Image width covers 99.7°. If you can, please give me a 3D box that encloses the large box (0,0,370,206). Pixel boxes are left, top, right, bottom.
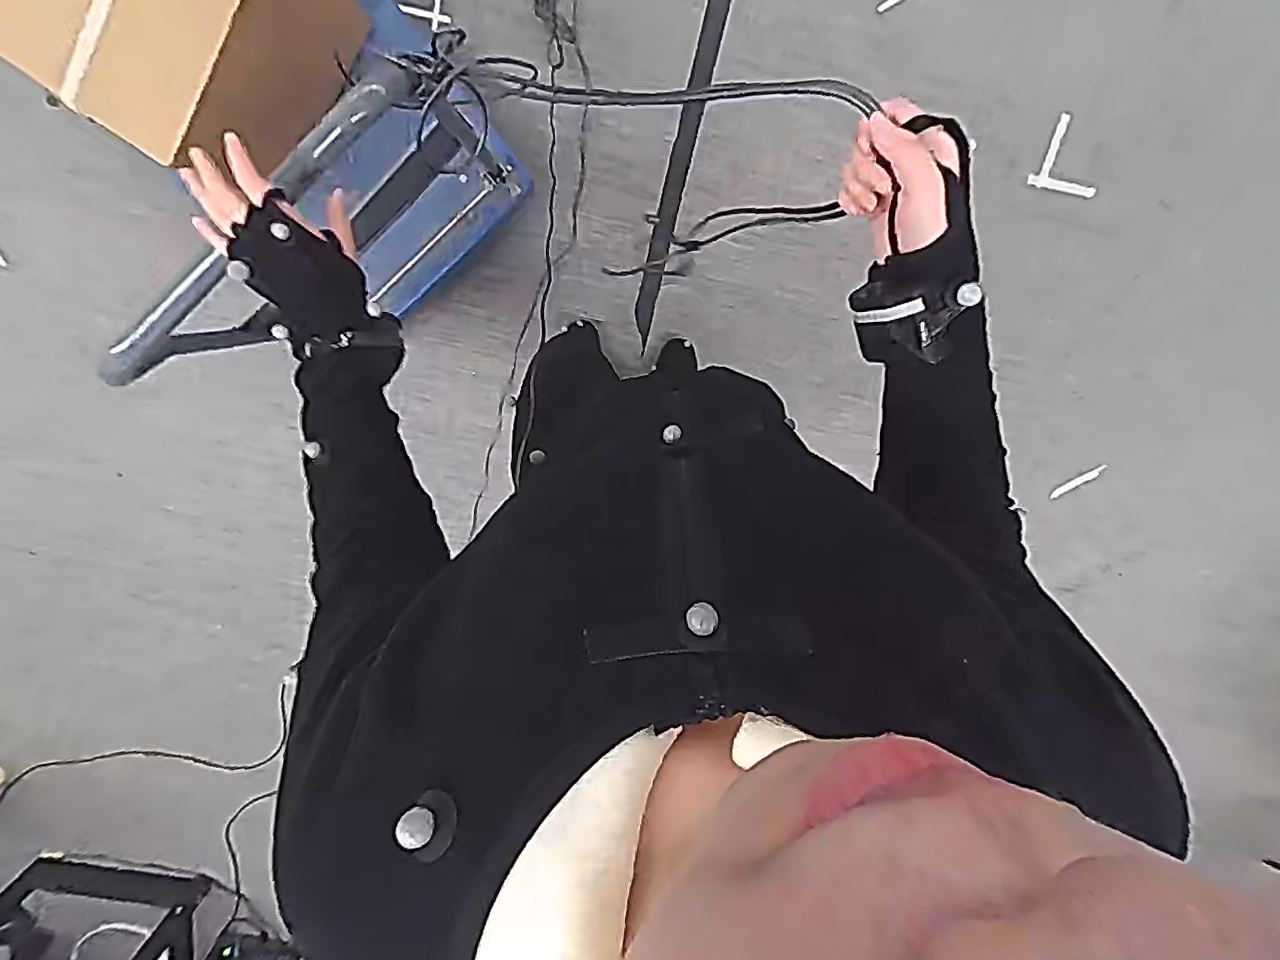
[{"bbox_3d":[-0.750,-0.766,0.923,0.320,0.320,0.408,34,103,-12],"label":"large box"}]
